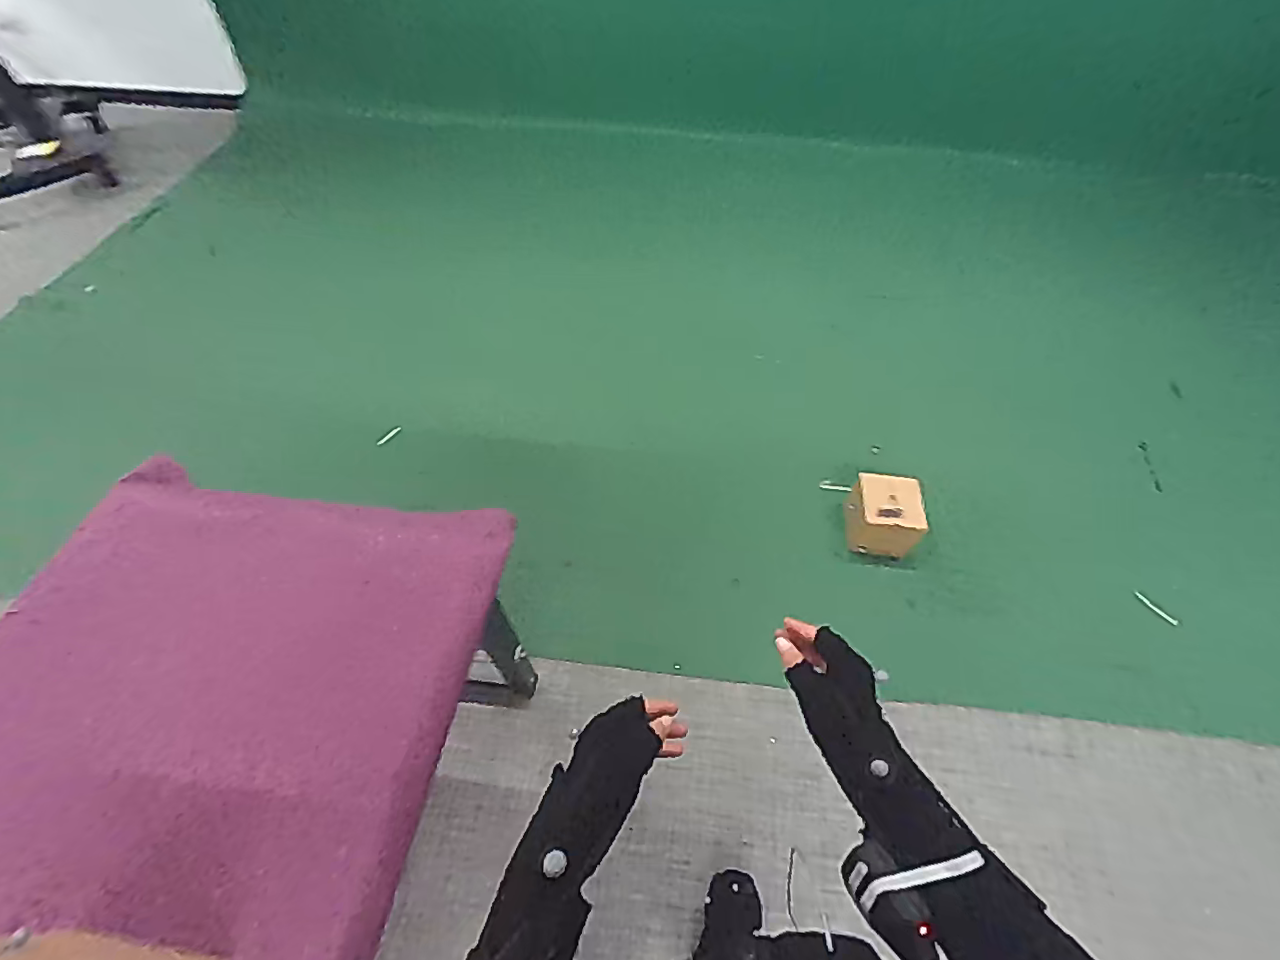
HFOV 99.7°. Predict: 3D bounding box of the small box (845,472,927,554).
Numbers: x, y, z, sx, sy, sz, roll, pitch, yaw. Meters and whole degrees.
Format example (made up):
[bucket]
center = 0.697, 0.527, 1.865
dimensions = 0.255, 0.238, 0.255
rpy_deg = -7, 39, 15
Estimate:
[small box]
center = 0.720, 0.102, 1.602
dimensions = 0.168, 0.176, 0.179
rpy_deg = 7, 54, 4
